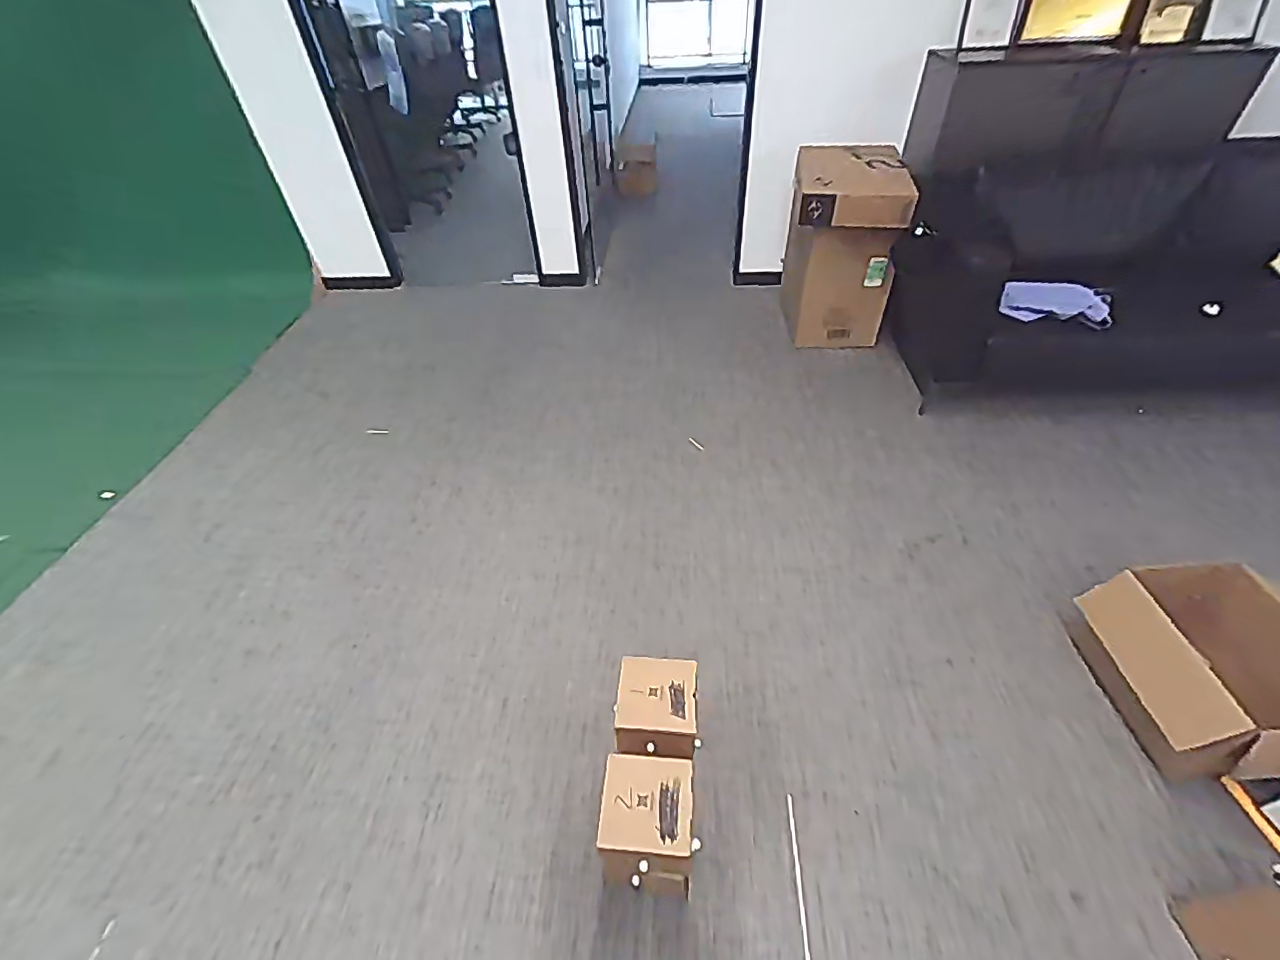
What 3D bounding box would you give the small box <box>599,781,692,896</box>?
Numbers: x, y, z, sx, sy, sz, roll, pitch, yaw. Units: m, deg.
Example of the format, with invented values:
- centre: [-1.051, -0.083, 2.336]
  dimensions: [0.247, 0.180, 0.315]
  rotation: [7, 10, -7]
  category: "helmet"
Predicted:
- centre: [0.019, 0.796, 1.198]
  dimensions: [0.179, 0.176, 0.168]
  rotation: [5, 45, 9]
  category: "small box"
